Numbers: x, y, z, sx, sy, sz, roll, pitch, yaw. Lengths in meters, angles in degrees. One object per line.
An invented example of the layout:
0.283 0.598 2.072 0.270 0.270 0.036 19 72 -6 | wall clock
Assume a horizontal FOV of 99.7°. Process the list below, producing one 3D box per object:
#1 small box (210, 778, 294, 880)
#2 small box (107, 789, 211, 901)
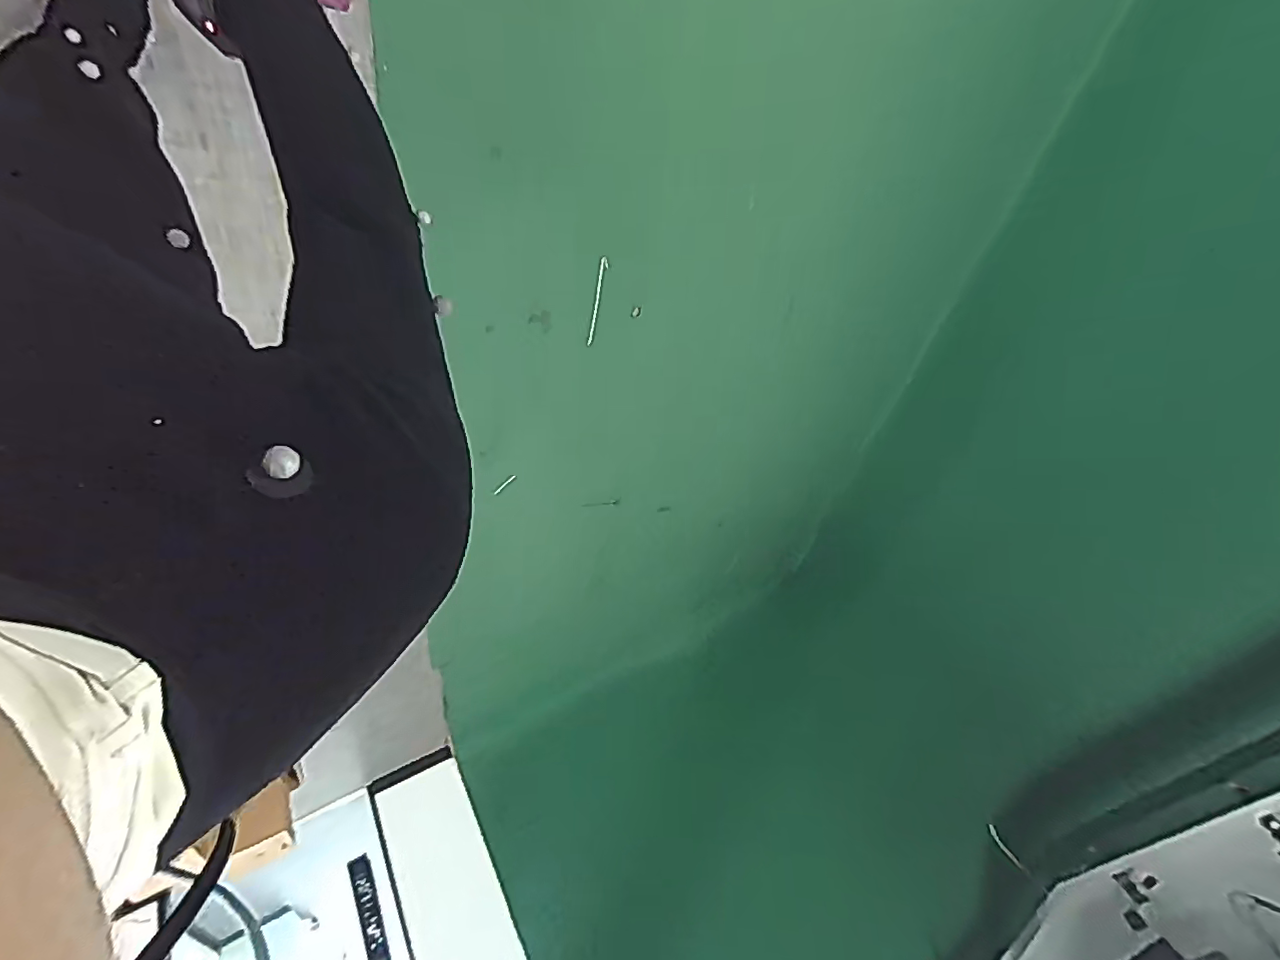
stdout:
-1.159 1.040 1.619 0.179 0.176 0.168 -13 136 -31 | small box
-1.268 0.956 1.429 0.168 0.176 0.179 -15 138 -30 | small box
